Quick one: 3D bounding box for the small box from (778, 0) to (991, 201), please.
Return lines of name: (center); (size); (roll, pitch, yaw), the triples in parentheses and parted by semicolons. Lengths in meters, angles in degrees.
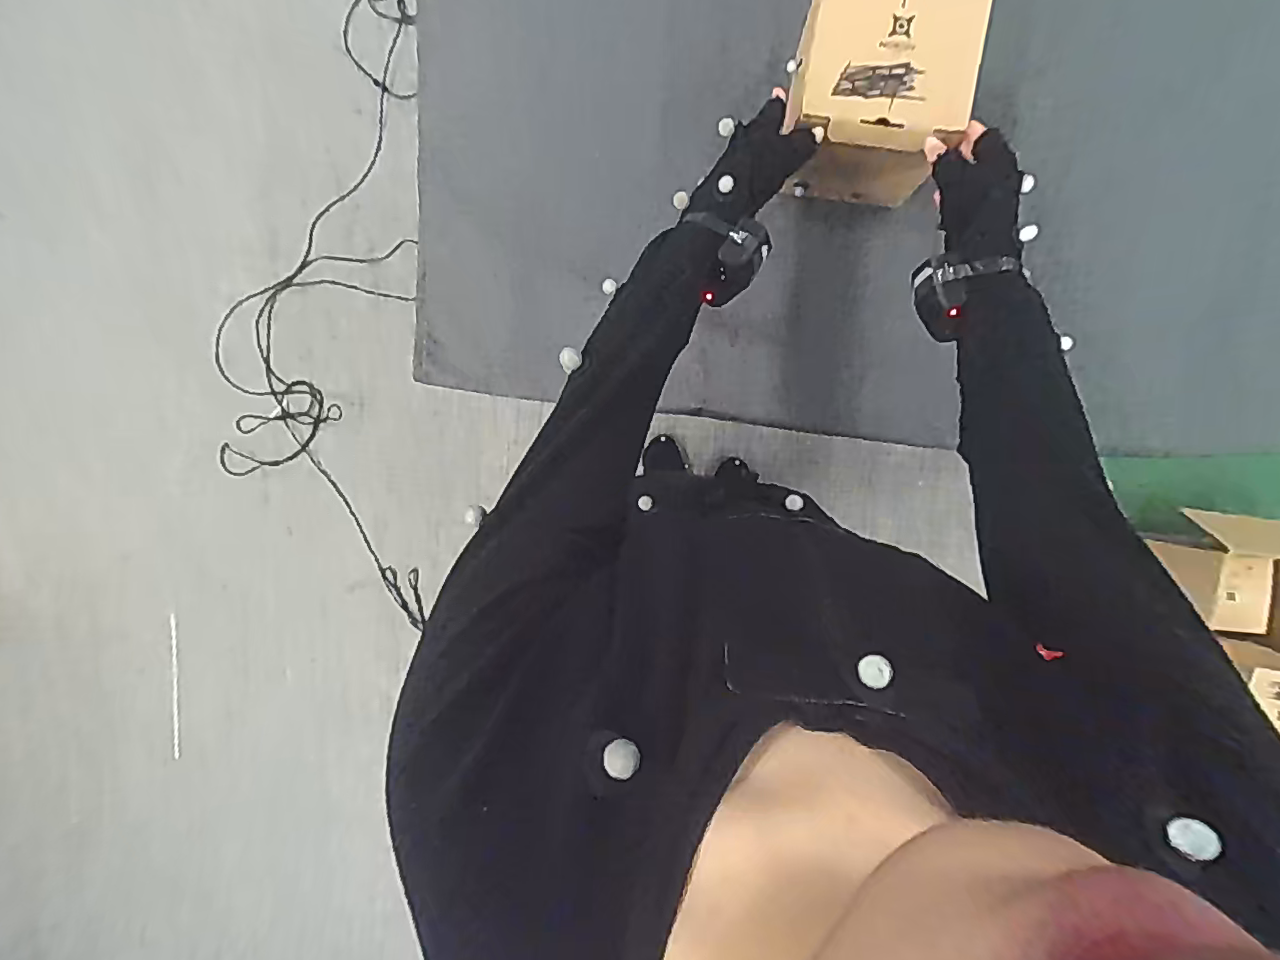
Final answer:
small box: (0.261, -0.445, 0.614); (0.168, 0.176, 0.179); (10, 95, 4)
